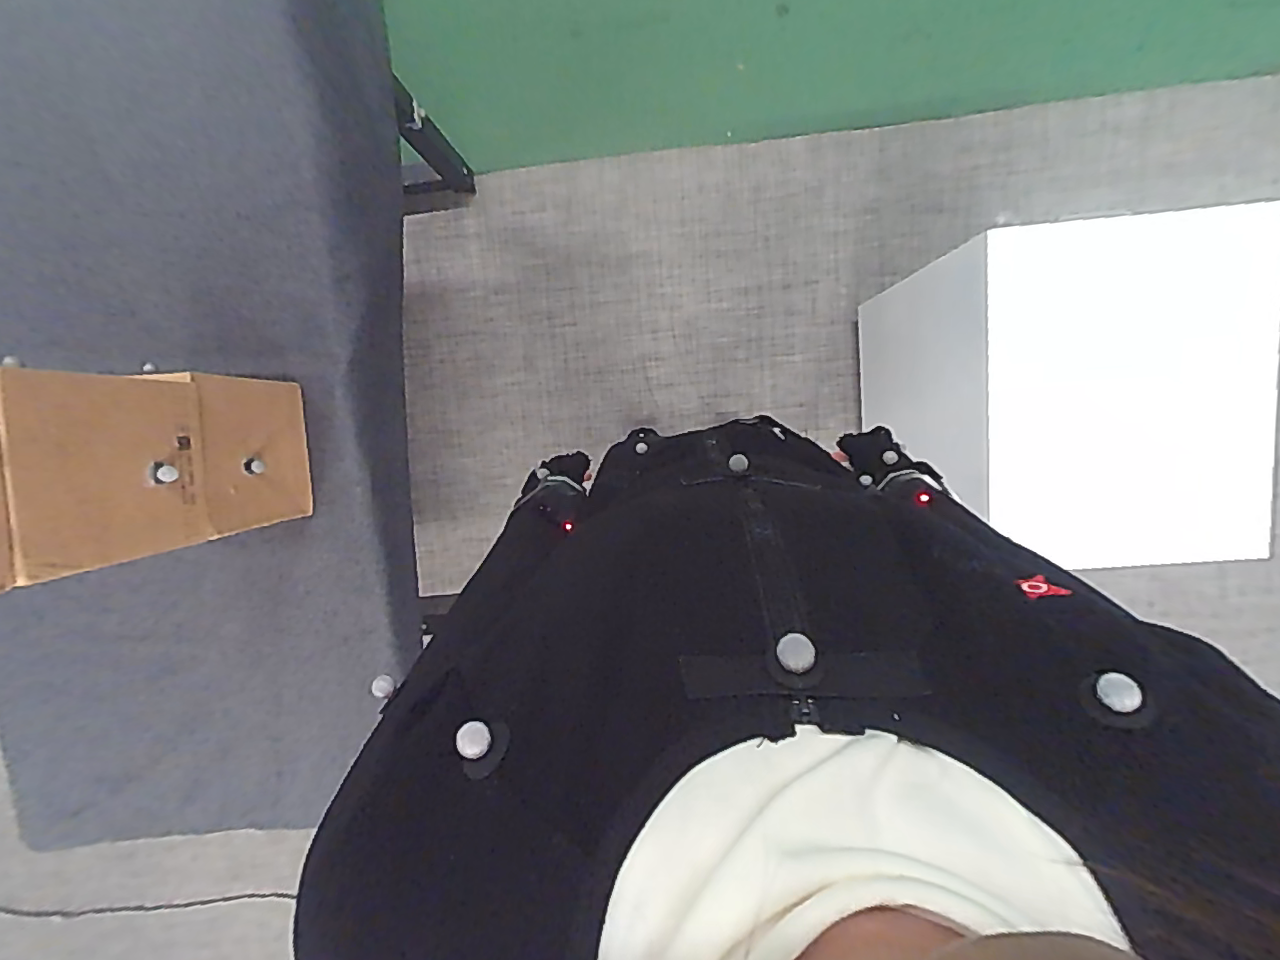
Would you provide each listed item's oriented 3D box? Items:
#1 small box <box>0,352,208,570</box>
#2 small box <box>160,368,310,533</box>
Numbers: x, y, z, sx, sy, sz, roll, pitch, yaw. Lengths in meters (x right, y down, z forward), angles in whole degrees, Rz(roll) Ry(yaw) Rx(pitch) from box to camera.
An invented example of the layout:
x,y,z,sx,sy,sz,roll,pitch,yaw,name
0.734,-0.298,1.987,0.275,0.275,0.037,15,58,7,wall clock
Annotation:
x,y,z,sx,sy,sz,roll,pitch,yaw,name
-0.548,-0.020,0.490,0.179,0.176,0.168,-2,96,6,small box
-0.531,-0.039,0.652,0.168,0.176,0.179,-2,97,4,small box
